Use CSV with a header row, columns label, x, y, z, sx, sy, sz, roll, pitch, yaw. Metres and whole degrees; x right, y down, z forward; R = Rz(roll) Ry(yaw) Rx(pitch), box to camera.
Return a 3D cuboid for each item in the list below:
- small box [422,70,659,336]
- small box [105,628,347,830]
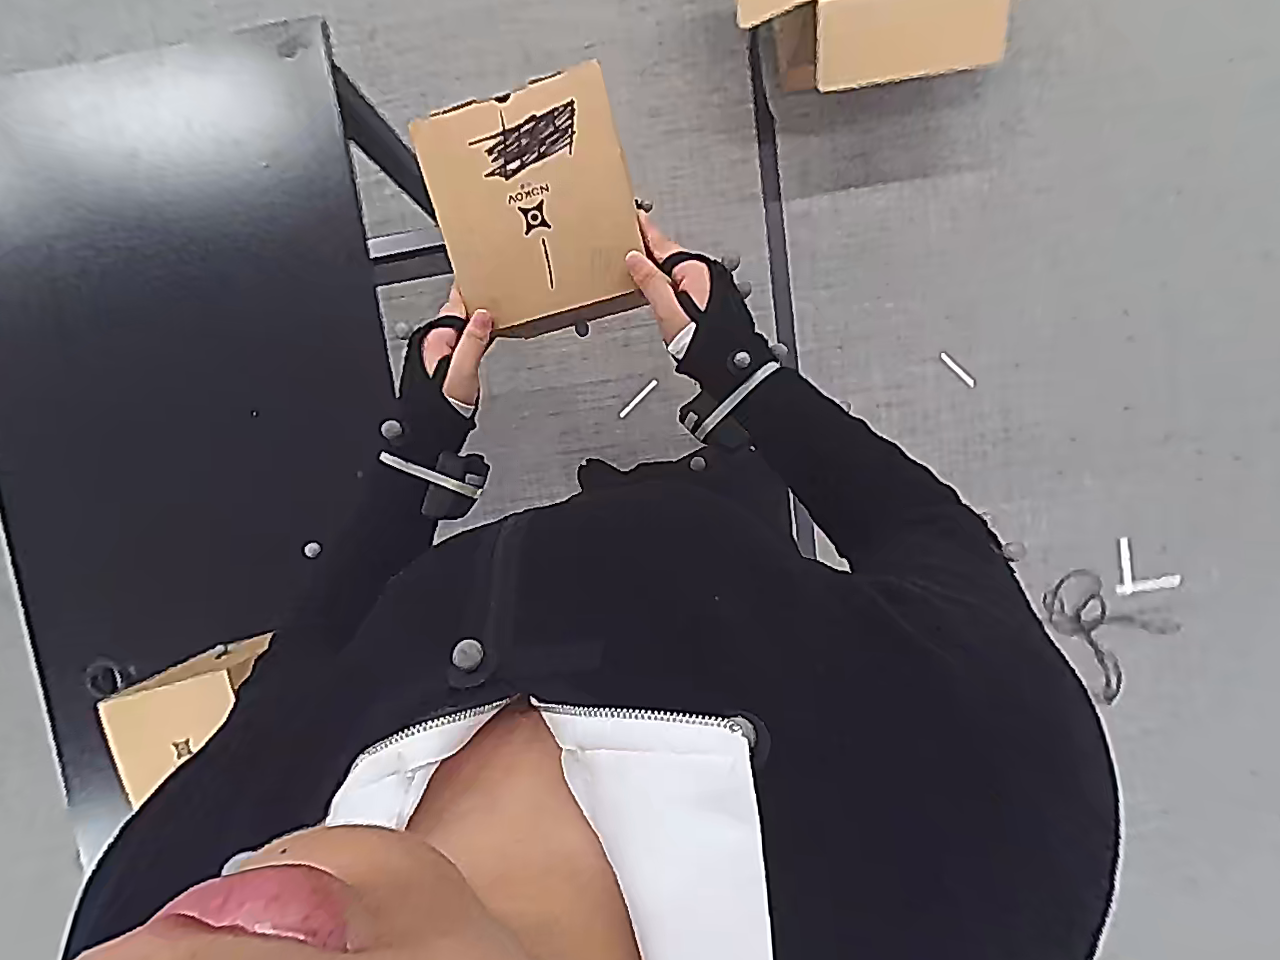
label,x,y,z,sx,sy,sz,roll,pitch,yaw
small box,-0.079,-0.246,0.532,0.168,0.176,0.179,-12,103,7
small box,-0.534,0.314,0.724,0.168,0.176,0.179,-16,94,3
